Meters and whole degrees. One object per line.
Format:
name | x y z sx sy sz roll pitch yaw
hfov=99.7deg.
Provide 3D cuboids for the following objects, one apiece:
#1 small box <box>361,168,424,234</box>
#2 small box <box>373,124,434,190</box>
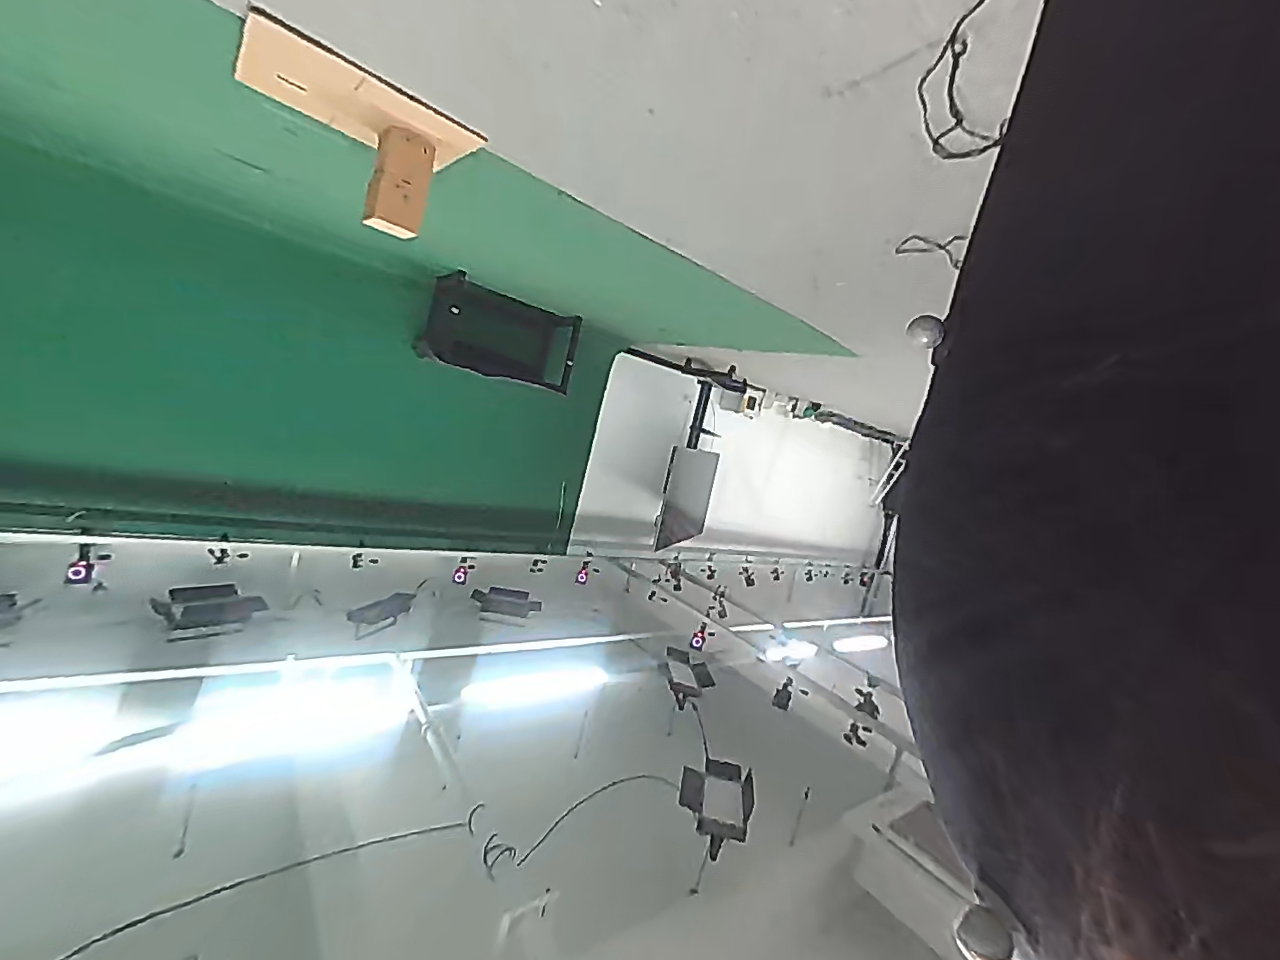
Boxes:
small box | -0.960 -1.080 2.099 0.168 0.176 0.179 8 -172 -44
small box | -0.908 -1.233 2.076 0.168 0.176 0.179 8 -170 -43
